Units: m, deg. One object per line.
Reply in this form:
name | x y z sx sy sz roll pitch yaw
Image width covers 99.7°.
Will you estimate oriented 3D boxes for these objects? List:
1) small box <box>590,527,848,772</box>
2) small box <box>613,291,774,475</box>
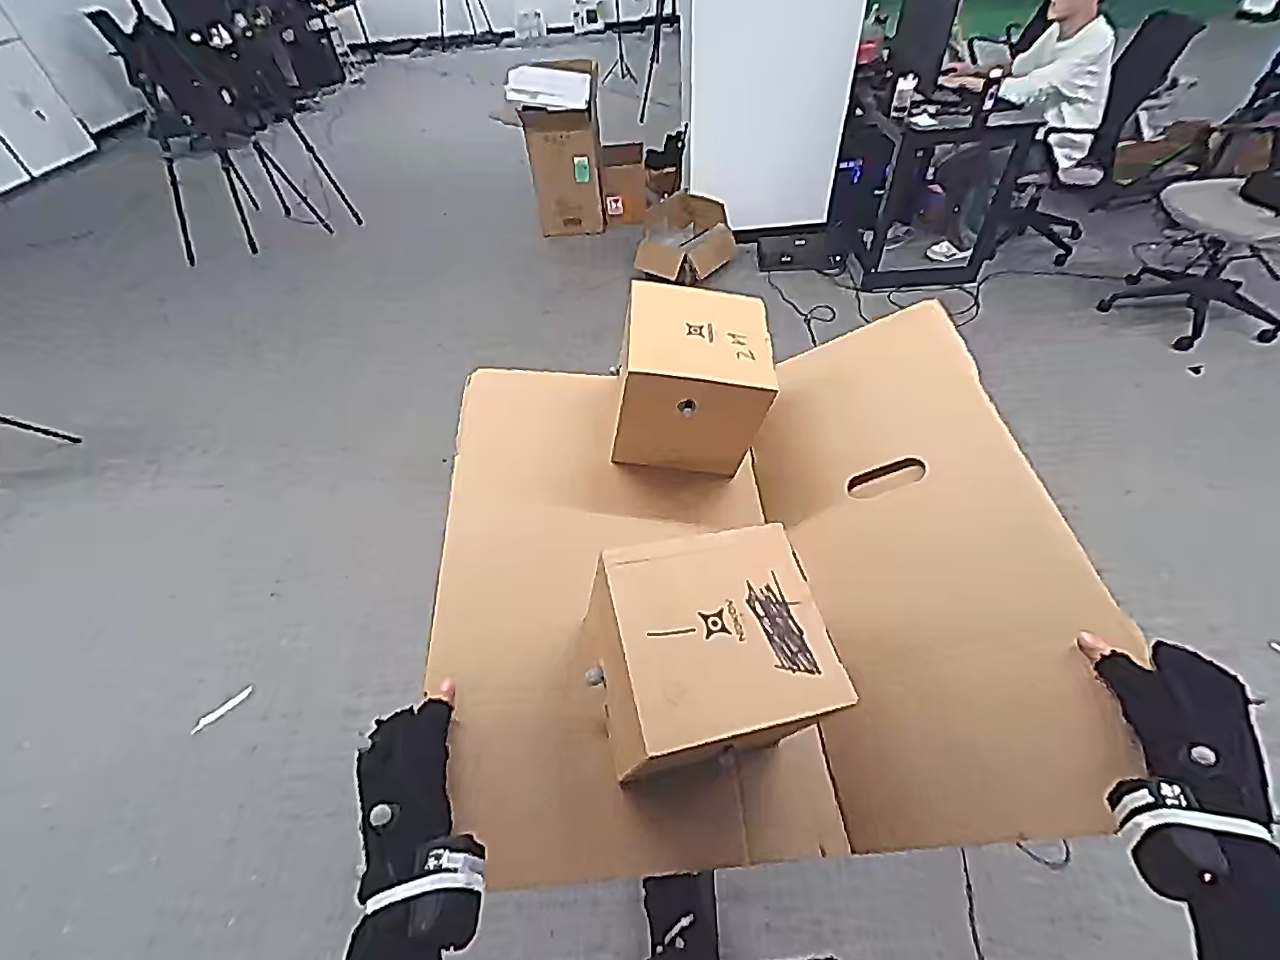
small box | 0.056 0.165 0.519 0.179 0.176 0.168 -7 57 -15
small box | 0.061 -0.123 0.724 0.179 0.176 0.168 7 54 -6
